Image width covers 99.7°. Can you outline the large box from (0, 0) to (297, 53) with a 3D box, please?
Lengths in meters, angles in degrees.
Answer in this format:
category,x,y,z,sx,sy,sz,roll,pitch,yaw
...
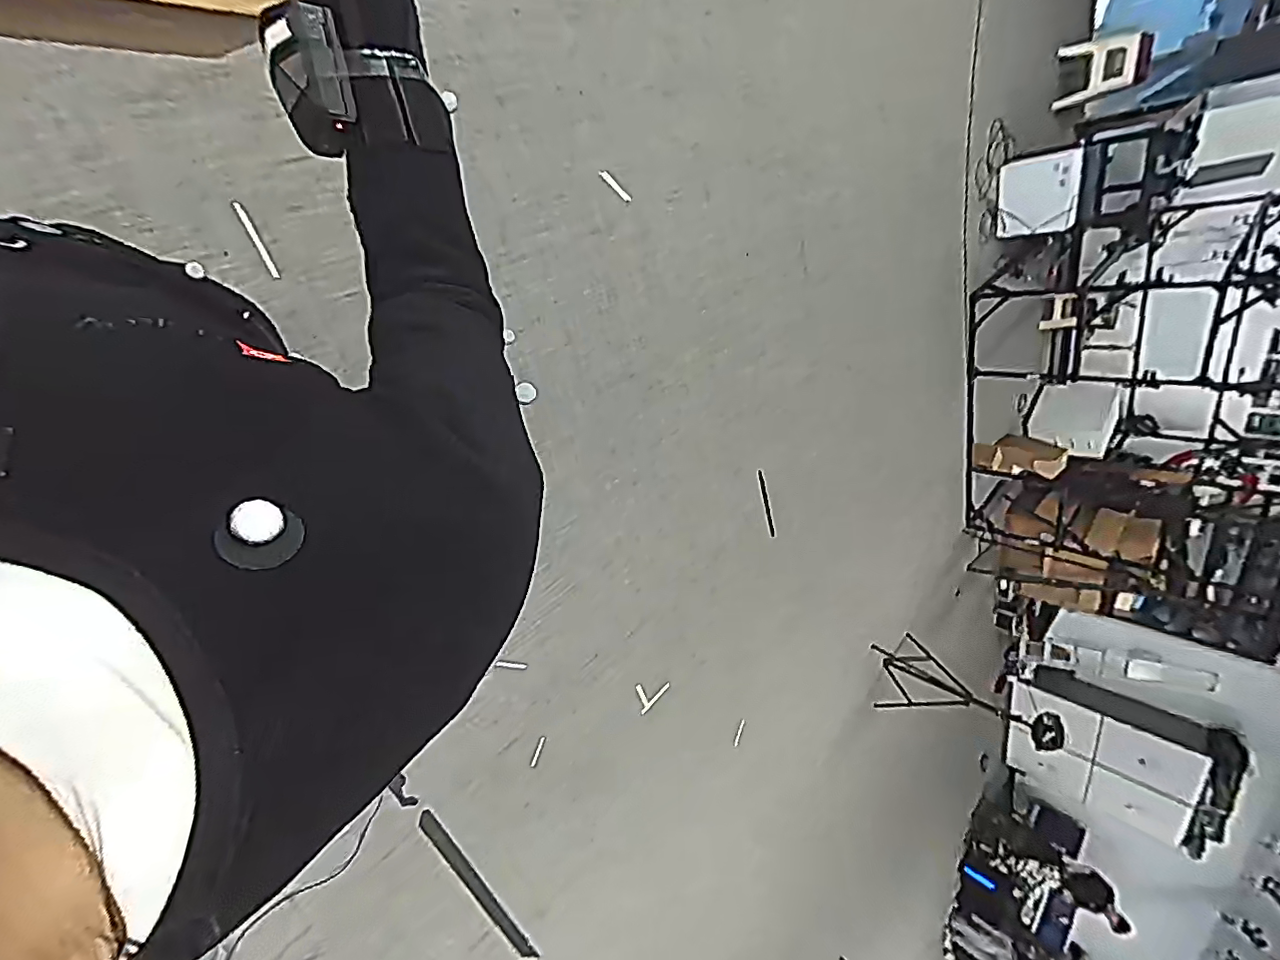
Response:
category,x,y,z,sx,sy,sz,roll,pitch,yaw
large box,-0.457,-0.416,0.242,0.408,0.320,0.320,-23,131,-35
